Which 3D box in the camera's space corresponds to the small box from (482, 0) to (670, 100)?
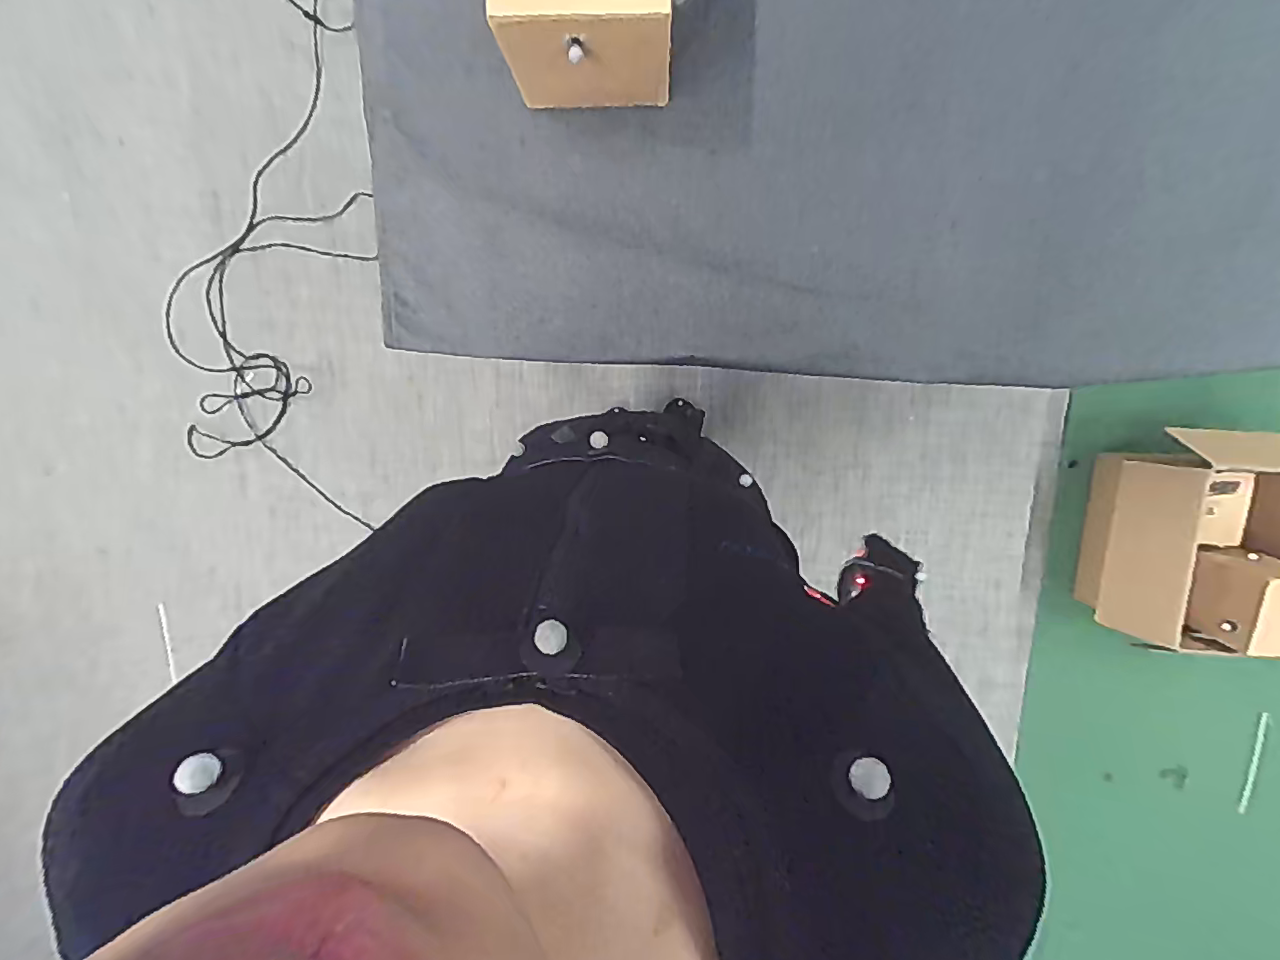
[{"bbox_3d":[-0.056,-0.526,0.562,0.179,0.176,0.168,1,101,3],"label":"small box"}]
